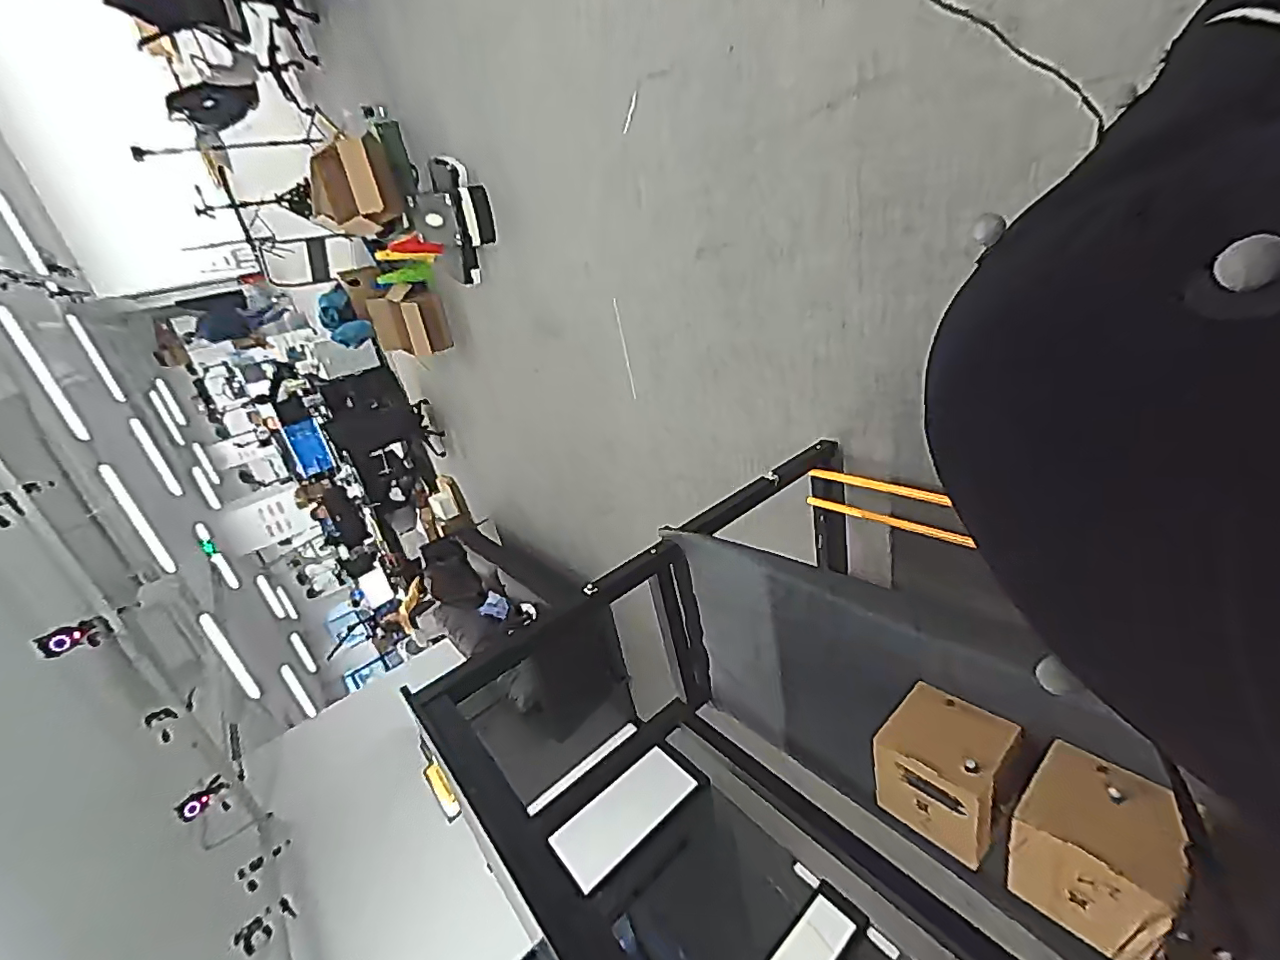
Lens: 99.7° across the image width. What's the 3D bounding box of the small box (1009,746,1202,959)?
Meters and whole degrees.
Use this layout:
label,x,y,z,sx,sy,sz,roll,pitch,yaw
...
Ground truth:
label,x,y,z,sx,sy,sz,roll,pitch,yaw
small box,0.650,0.526,0.762,0.168,0.176,0.179,16,126,50
